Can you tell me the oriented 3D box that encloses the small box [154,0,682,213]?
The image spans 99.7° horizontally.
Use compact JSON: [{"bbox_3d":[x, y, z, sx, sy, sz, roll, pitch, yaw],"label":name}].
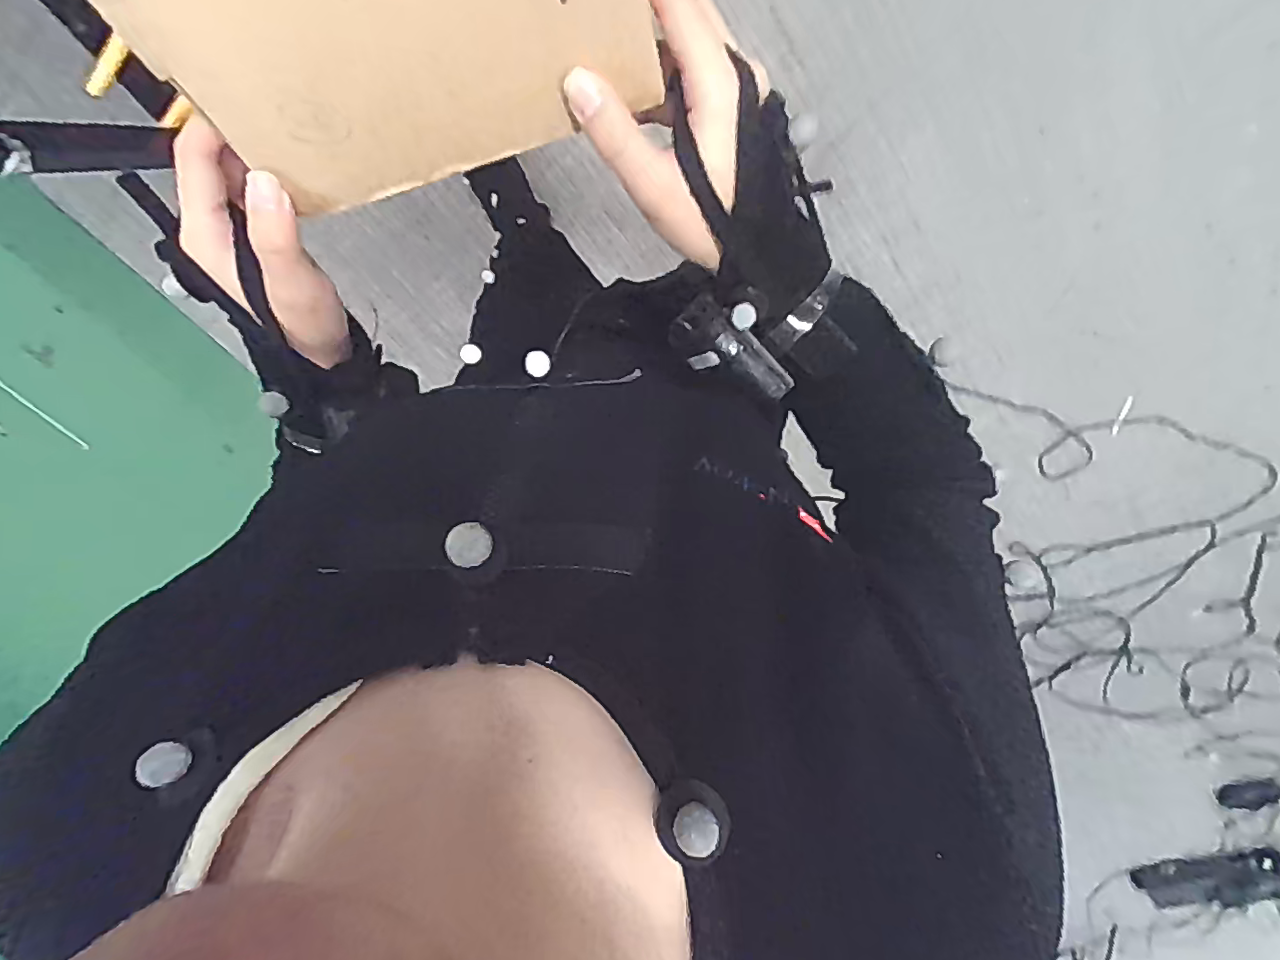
[{"bbox_3d":[-0.088,-0.246,0.212,0.179,0.176,0.168,-10,149,9],"label":"small box"}]
